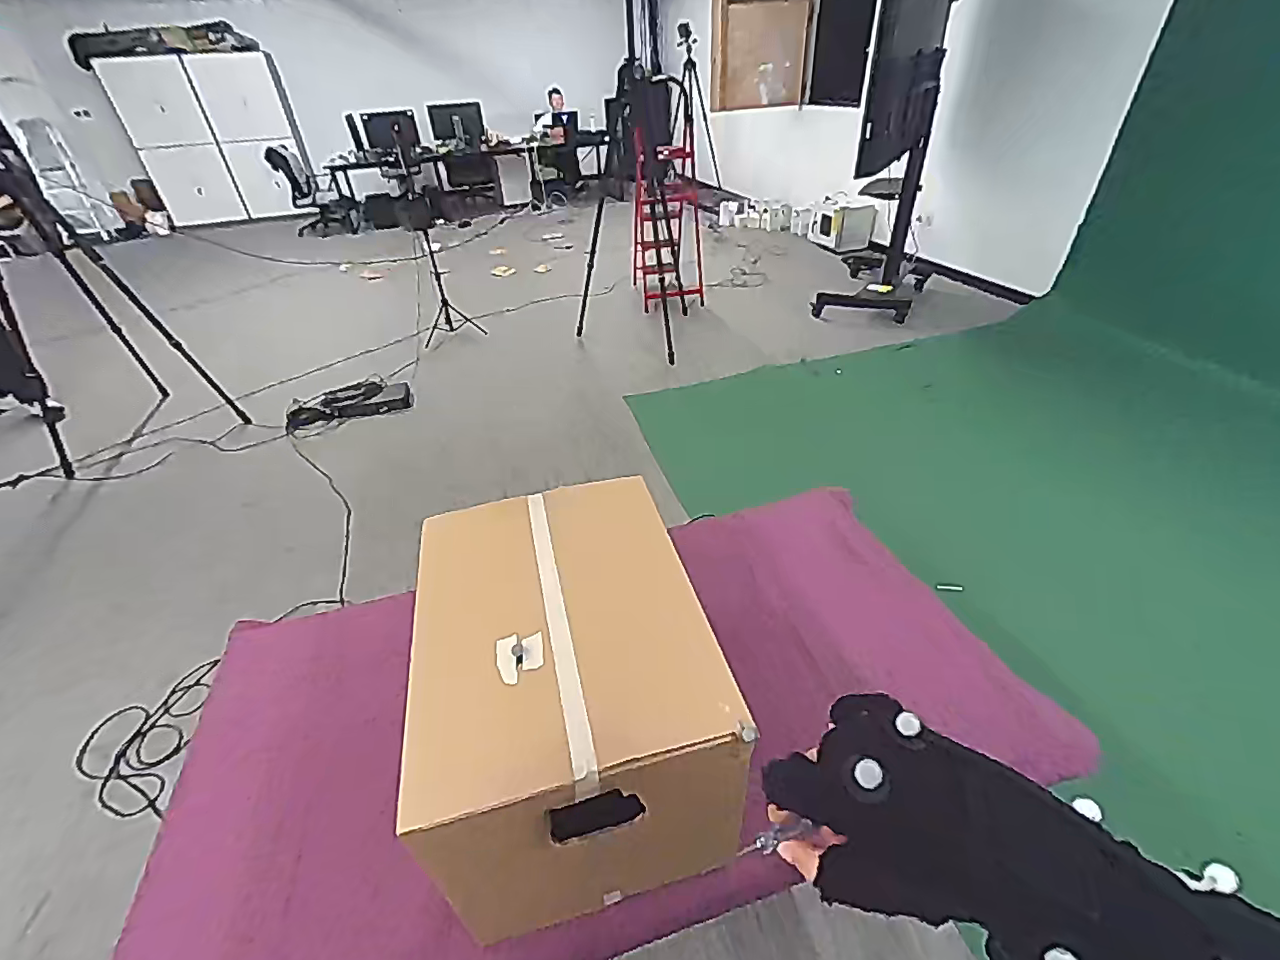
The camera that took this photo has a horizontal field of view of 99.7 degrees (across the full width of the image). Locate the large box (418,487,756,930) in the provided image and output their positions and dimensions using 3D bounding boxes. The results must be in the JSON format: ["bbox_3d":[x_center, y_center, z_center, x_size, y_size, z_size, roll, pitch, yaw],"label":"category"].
[{"bbox_3d":[-0.086,0.267,0.717,0.320,0.320,0.408,-11,38,-10],"label":"large box"}]
